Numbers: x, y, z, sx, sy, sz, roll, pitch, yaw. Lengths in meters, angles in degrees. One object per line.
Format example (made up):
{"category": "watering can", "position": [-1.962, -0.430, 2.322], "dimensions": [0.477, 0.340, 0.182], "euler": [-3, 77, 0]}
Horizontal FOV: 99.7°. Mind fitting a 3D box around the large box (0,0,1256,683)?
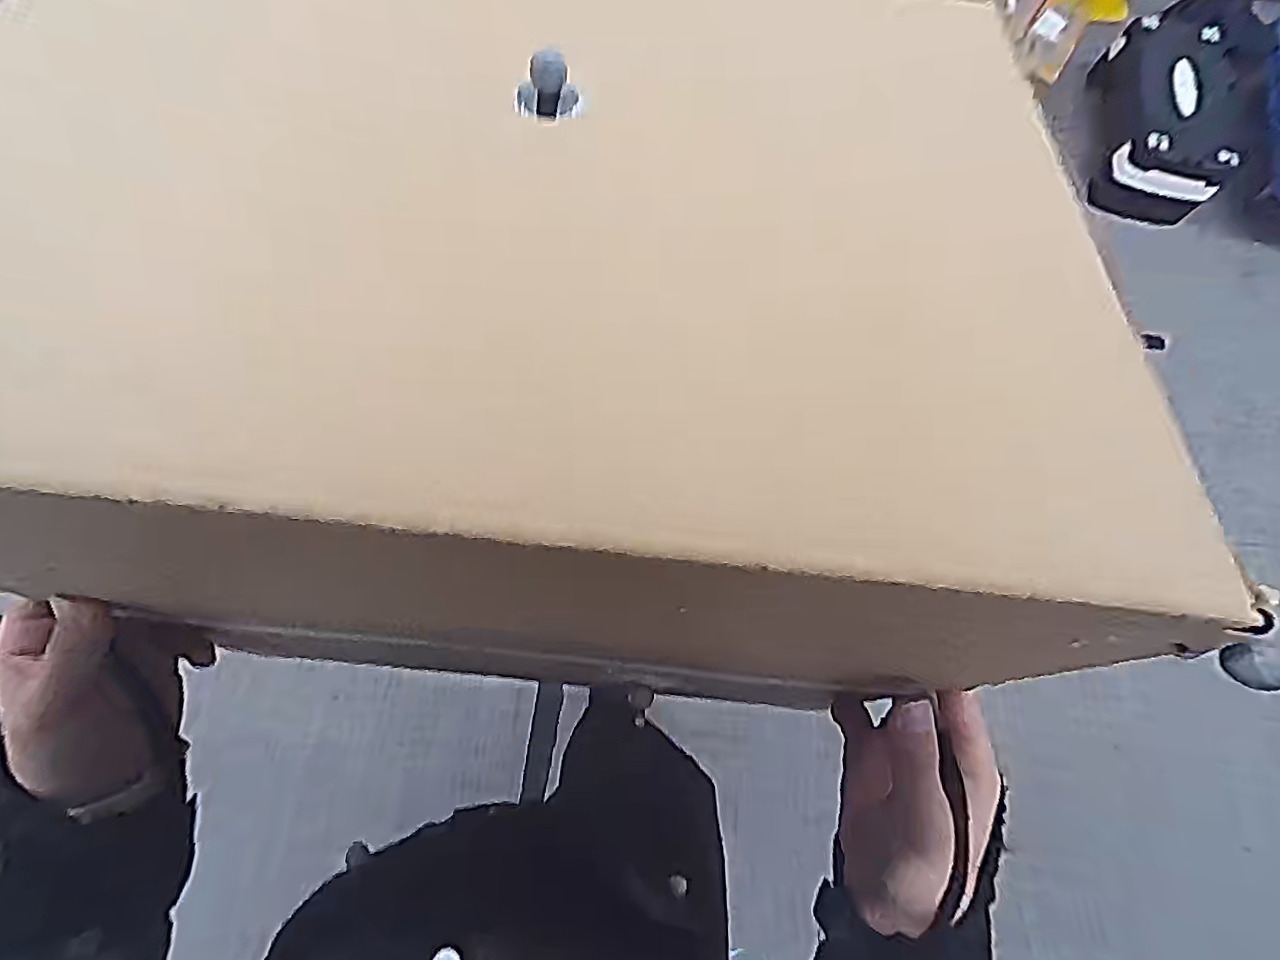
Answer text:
{"category": "large box", "position": [-0.043, -0.073, 0.329], "dimensions": [0.408, 0.320, 0.320], "euler": [6, 64, -2]}
